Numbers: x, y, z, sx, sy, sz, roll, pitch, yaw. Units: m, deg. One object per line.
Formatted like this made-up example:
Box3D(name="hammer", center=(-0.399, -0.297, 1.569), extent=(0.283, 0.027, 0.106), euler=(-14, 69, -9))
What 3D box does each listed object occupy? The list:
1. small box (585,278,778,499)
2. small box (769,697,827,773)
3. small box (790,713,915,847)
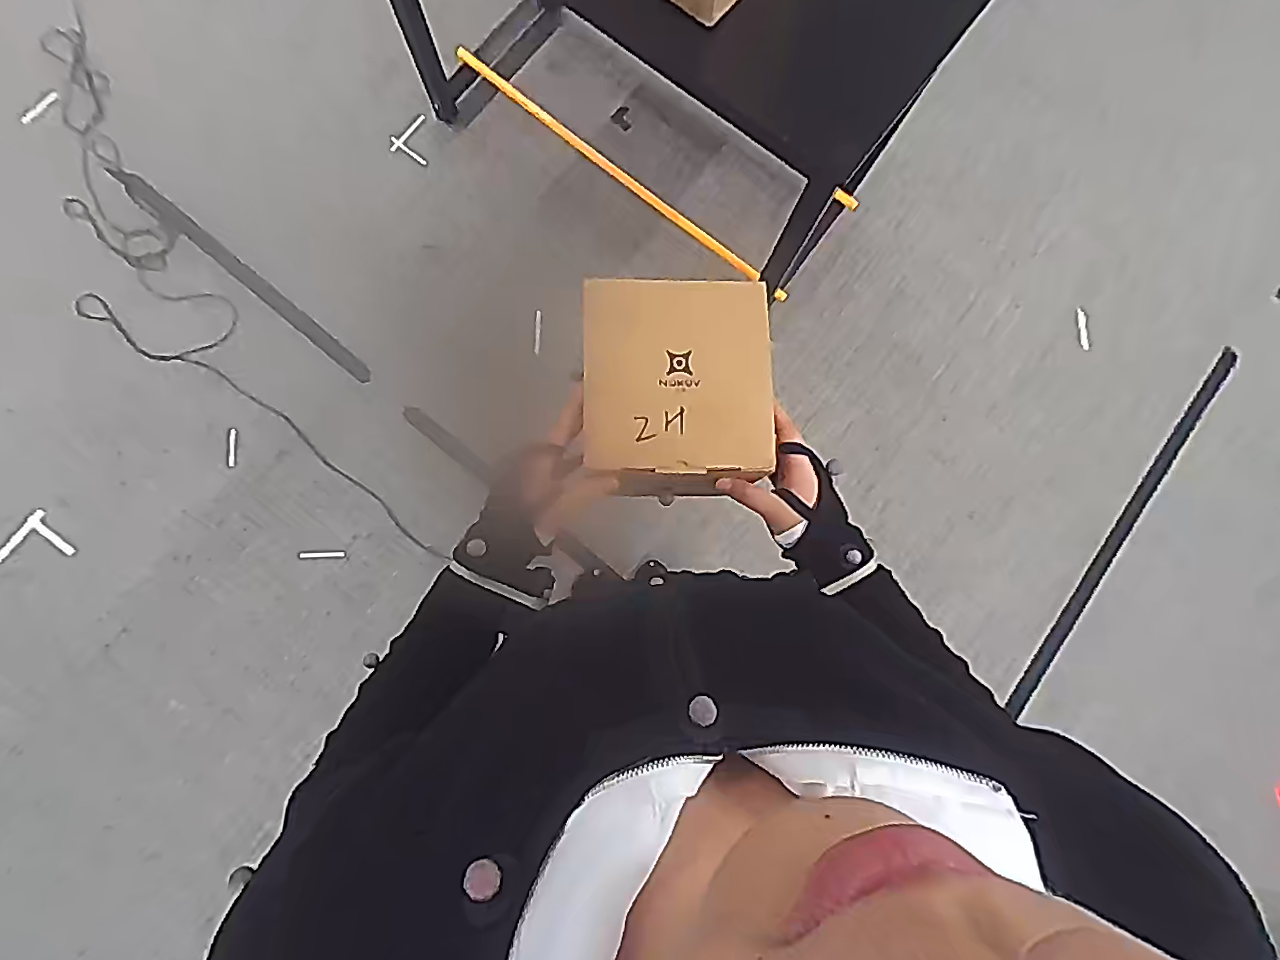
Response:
Box3D(name="small box", center=(0.030, -0.079, 0.544), extent=(0.168, 0.176, 0.179), euler=(0, 81, -3))
Box3D(name="small box", center=(0.459, 0.684, 1.381), extent=(0.179, 0.176, 0.168), euler=(33, 81, 4))
Box3D(name="small box", center=(0.467, 0.661, 1.218), extent=(0.168, 0.176, 0.179), euler=(37, 82, 3))
